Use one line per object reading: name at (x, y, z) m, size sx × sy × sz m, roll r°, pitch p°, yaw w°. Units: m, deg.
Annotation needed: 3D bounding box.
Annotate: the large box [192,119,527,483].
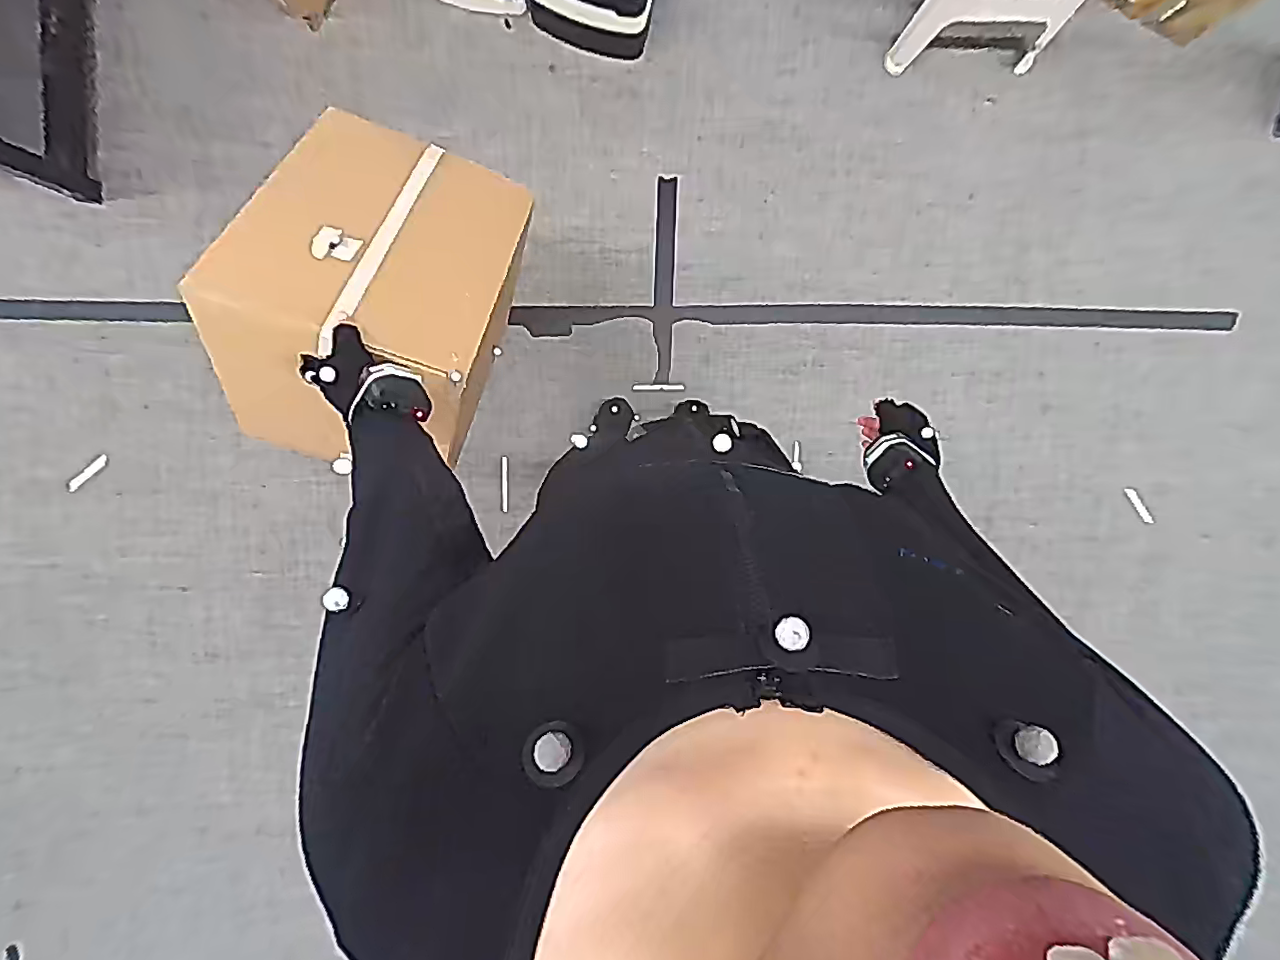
large box at (-0.399, -0.266, 0.870) m, size 0.320 × 0.320 × 0.408 m, roll 17°, pitch 59°, yaw -13°
